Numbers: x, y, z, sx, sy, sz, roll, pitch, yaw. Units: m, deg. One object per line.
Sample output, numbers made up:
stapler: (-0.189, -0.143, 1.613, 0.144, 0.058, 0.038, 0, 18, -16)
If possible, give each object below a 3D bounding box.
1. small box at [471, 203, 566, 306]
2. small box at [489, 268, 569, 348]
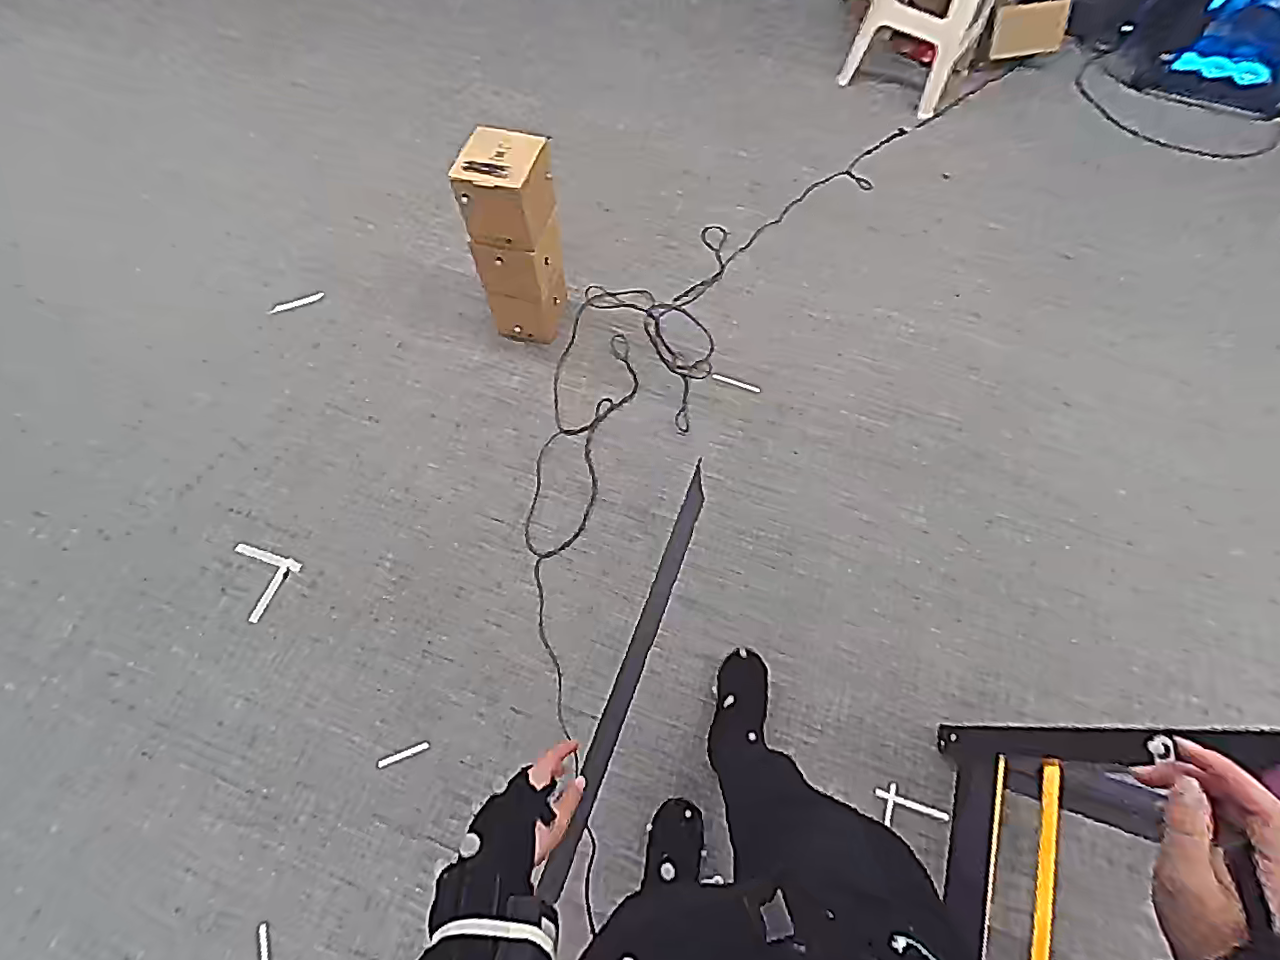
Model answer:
small box: (-0.304, -0.576, 1.399, 0.179, 0.176, 0.168, 14, 67, 7)
small box: (-0.308, -0.510, 1.547, 0.168, 0.176, 0.179, 13, 67, 6)
